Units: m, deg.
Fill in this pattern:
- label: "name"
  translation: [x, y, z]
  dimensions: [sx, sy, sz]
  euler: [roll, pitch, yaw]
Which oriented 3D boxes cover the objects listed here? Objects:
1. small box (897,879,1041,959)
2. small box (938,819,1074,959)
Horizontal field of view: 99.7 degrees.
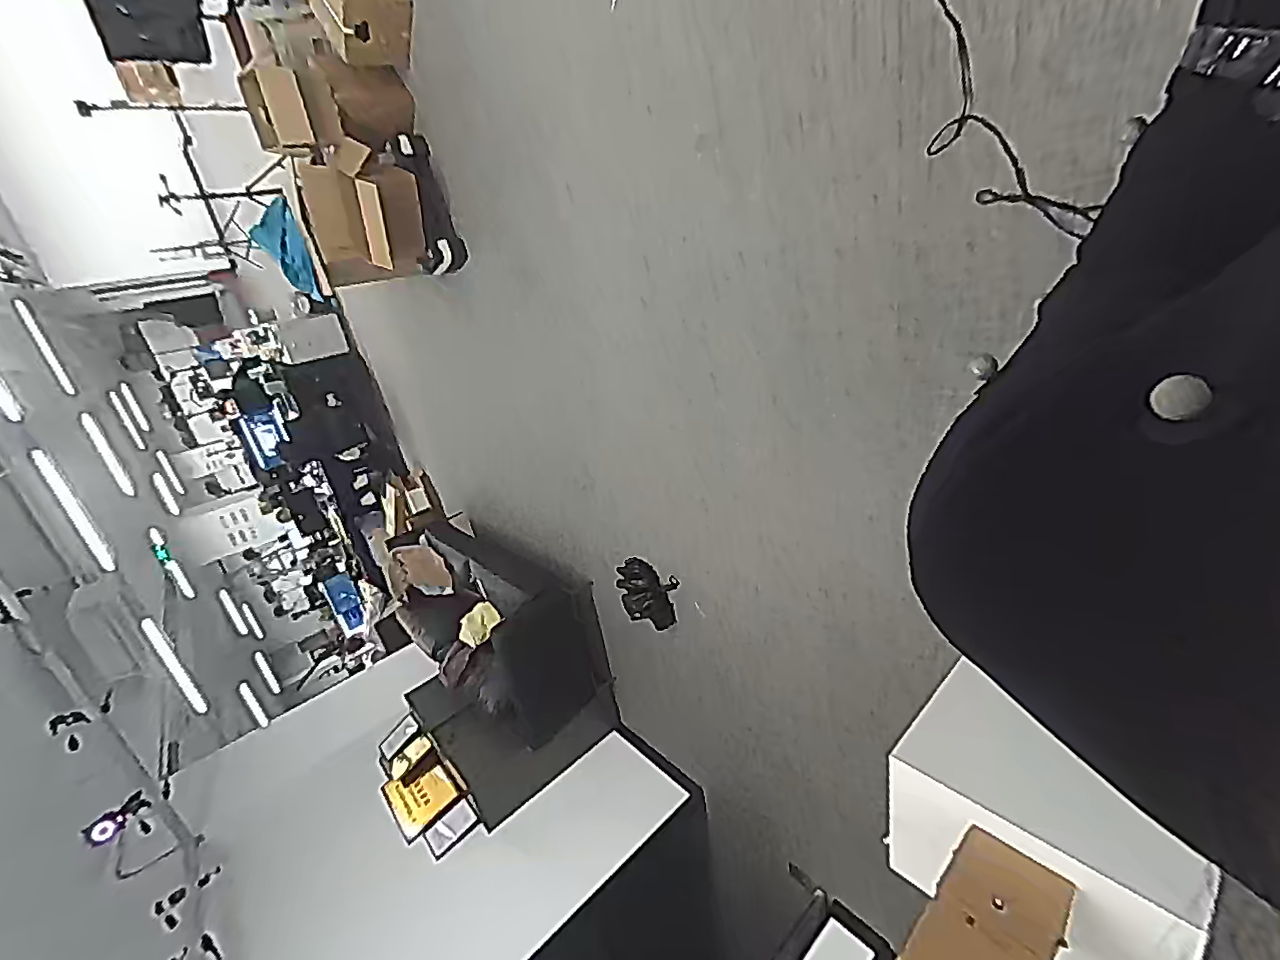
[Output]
- label: "small box"
  translation: [0.574, 0.867, 0.947]
  dimensions: [0.168, 0.176, 0.179]
  euler: [15, 123, 50]
- label: "small box"
  translation: [0.696, 0.804, 1.033]
  dimensions: [0.179, 0.176, 0.168]
  euler: [16, 124, 49]
